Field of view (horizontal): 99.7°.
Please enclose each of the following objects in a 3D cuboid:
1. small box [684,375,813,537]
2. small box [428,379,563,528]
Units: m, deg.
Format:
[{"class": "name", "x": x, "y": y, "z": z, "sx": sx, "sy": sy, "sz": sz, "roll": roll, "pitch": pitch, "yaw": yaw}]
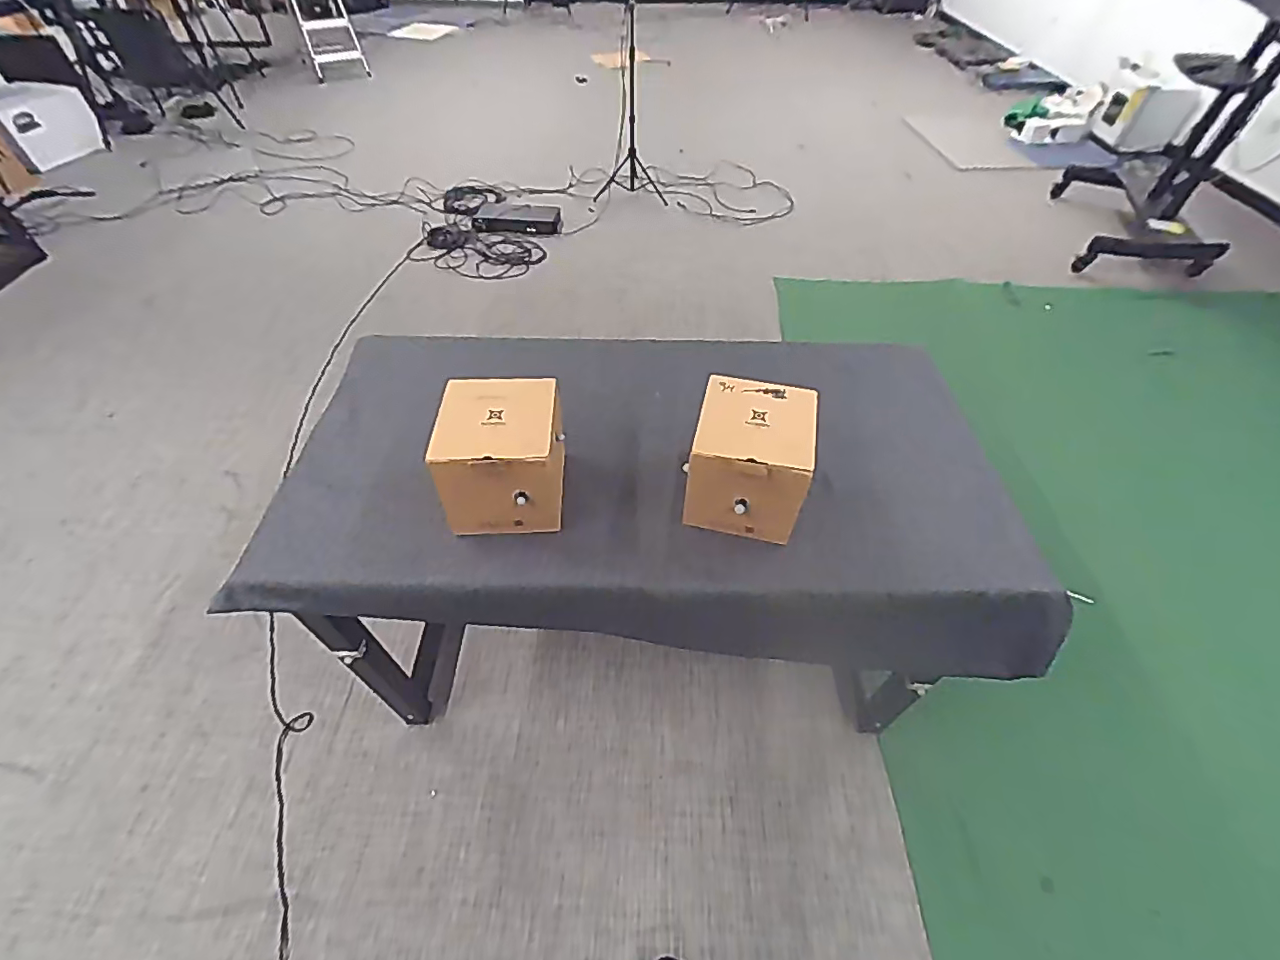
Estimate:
[{"class": "small box", "x": 0.165, "y": -0.034, "z": 0.845, "sx": 0.168, "sy": 0.176, "sz": 0.179, "roll": 11, "pitch": 50, "yaw": 8}, {"class": "small box", "x": -0.210, "y": -0.037, "z": 0.842, "sx": 0.168, "sy": 0.176, "sz": 0.179, "roll": -1, "pitch": 47, "yaw": -4}]
